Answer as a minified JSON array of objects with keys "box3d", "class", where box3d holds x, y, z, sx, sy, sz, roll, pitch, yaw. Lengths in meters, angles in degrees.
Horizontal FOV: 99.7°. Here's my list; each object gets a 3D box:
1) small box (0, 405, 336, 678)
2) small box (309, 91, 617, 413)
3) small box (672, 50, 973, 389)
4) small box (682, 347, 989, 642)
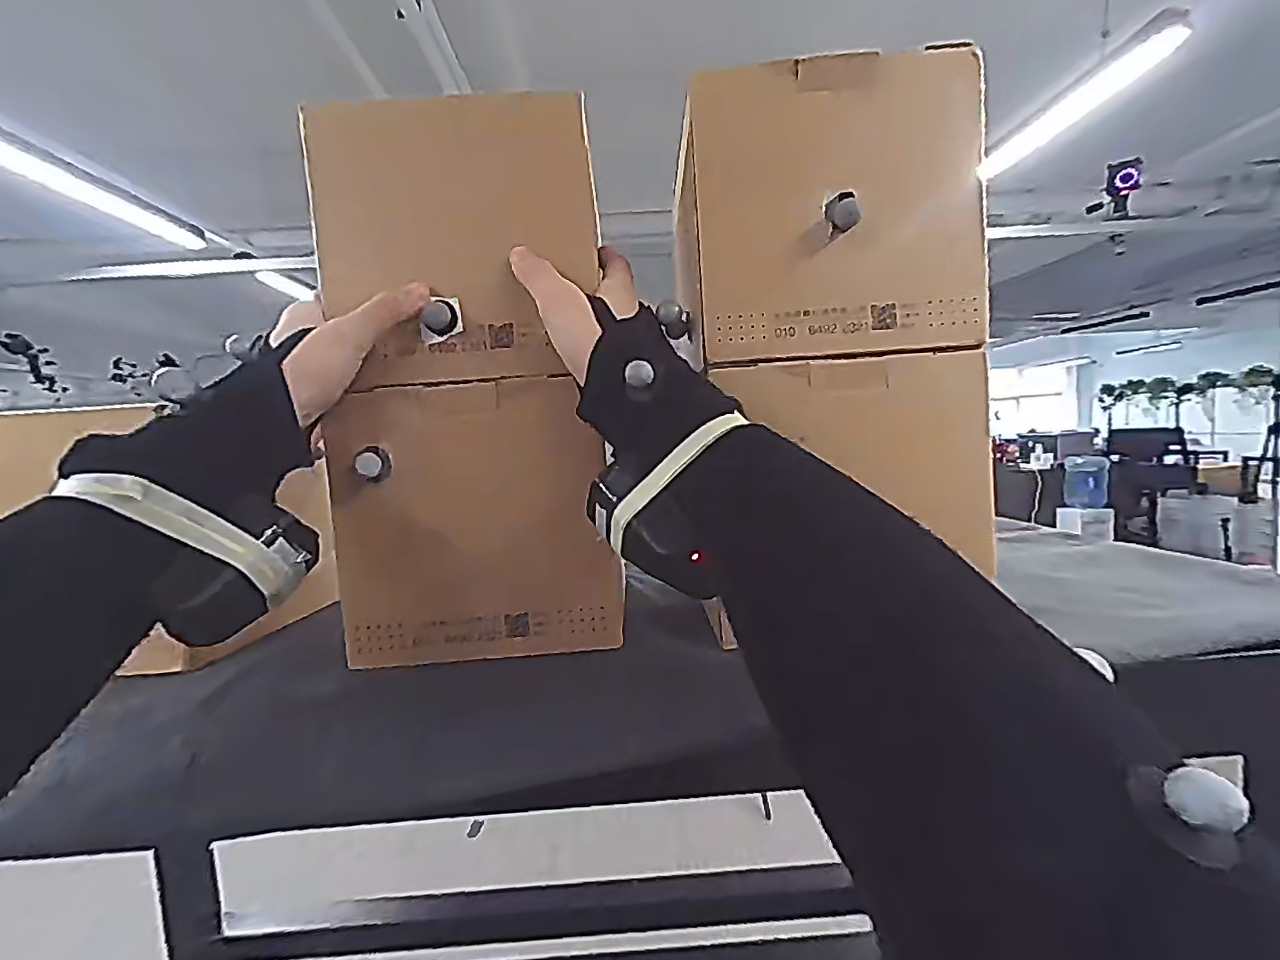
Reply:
[{"box3d":[-0.357,0.040,0.410,0.168,0.176,0.179,-3,3,1],"class":"small box"},{"box3d":[-0.108,-0.141,0.400,0.168,0.176,0.179,-6,4,-2],"class":"small box"},{"box3d":[0.114,-0.157,0.391,0.168,0.176,0.179,-4,4,1],"class":"small box"},{"box3d":[0.123,0.007,0.400,0.168,0.176,0.179,-5,4,0],"class":"small box"}]
